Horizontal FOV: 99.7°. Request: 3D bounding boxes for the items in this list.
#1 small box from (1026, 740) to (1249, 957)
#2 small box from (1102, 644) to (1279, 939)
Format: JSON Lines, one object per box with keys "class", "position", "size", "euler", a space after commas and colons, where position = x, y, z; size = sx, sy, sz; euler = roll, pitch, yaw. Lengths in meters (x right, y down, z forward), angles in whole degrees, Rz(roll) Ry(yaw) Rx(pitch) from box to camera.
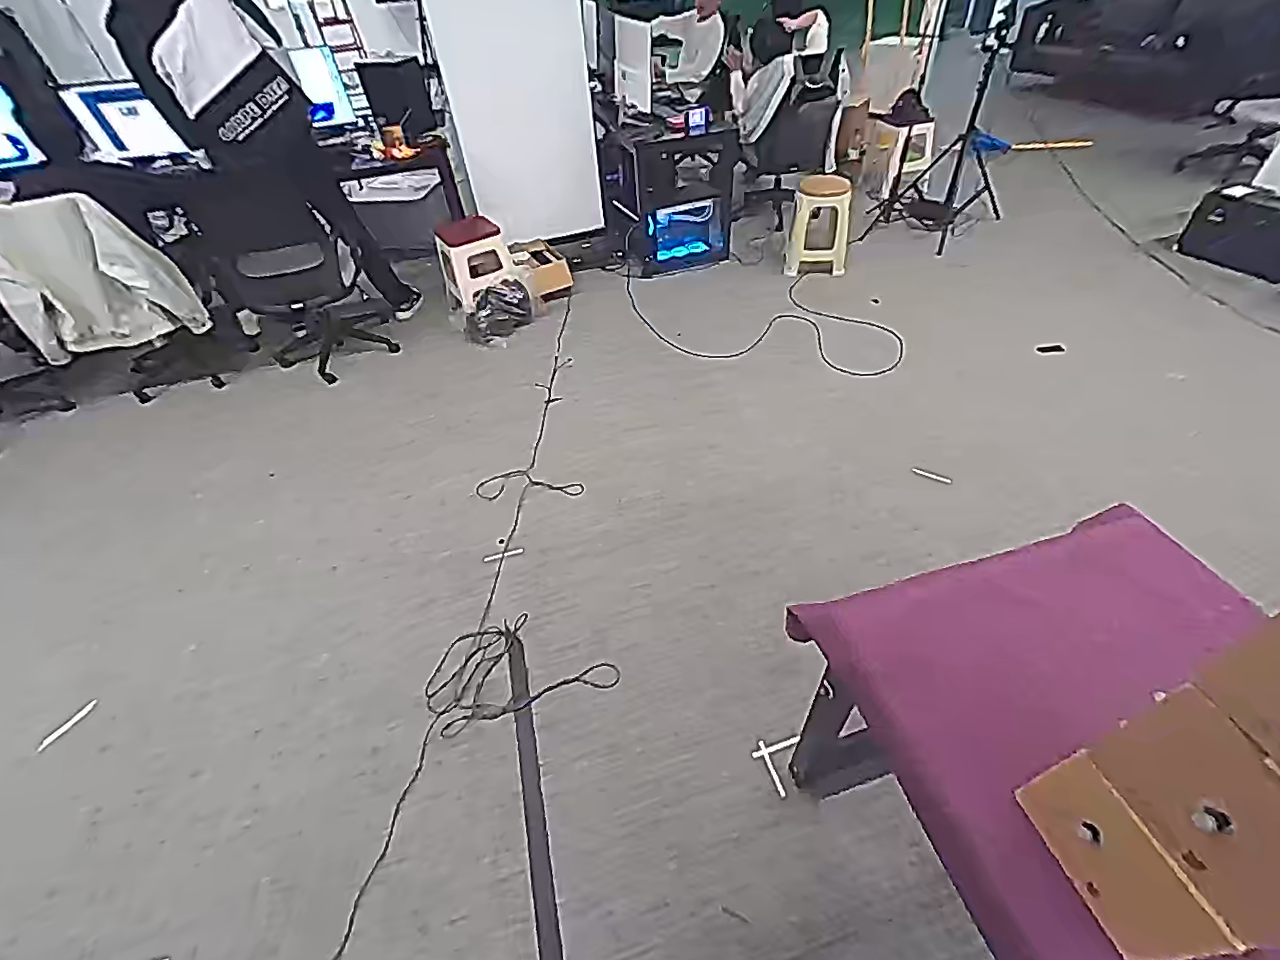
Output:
{"class": "small box", "position": [0.561, 0.376, 0.578], "size": [0.179, 0.176, 0.168], "euler": [-12, 46, -8]}
{"class": "small box", "position": [0.557, 0.259, 0.463], "size": [0.179, 0.176, 0.168], "euler": [-15, 46, -10]}
